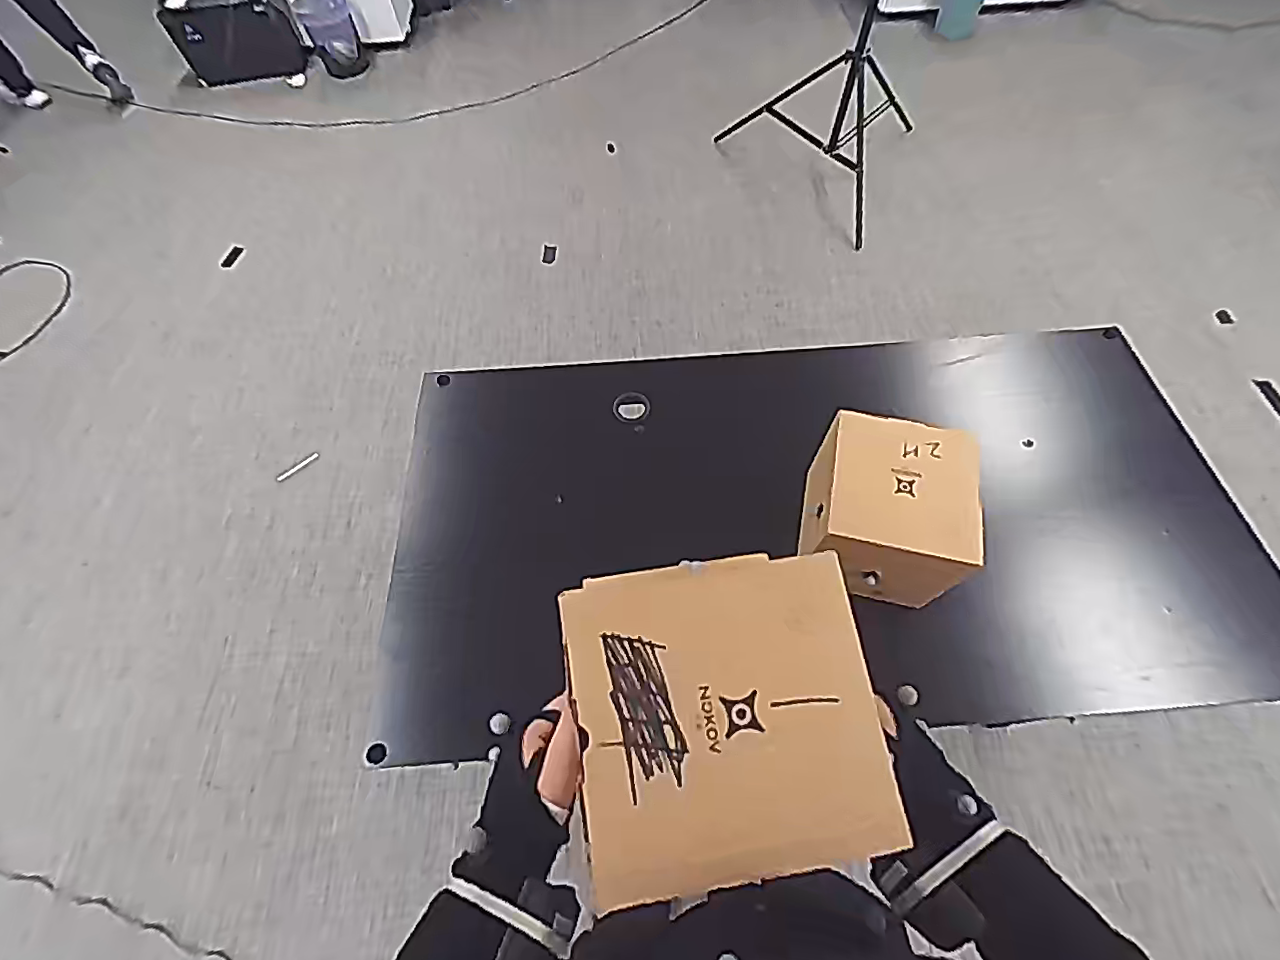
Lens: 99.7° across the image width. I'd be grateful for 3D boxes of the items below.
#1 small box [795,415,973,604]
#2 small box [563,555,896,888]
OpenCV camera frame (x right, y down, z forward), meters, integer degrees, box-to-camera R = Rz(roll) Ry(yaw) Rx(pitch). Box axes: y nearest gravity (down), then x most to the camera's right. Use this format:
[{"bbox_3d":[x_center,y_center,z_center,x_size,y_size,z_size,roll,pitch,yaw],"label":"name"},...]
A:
[{"bbox_3d":[0.307,0.046,0.706,0.168,0.176,0.179,12,62,8],"label":"small box"},{"bbox_3d":[0.047,0.159,0.397,0.179,0.176,0.168,-8,73,-4],"label":"small box"}]
